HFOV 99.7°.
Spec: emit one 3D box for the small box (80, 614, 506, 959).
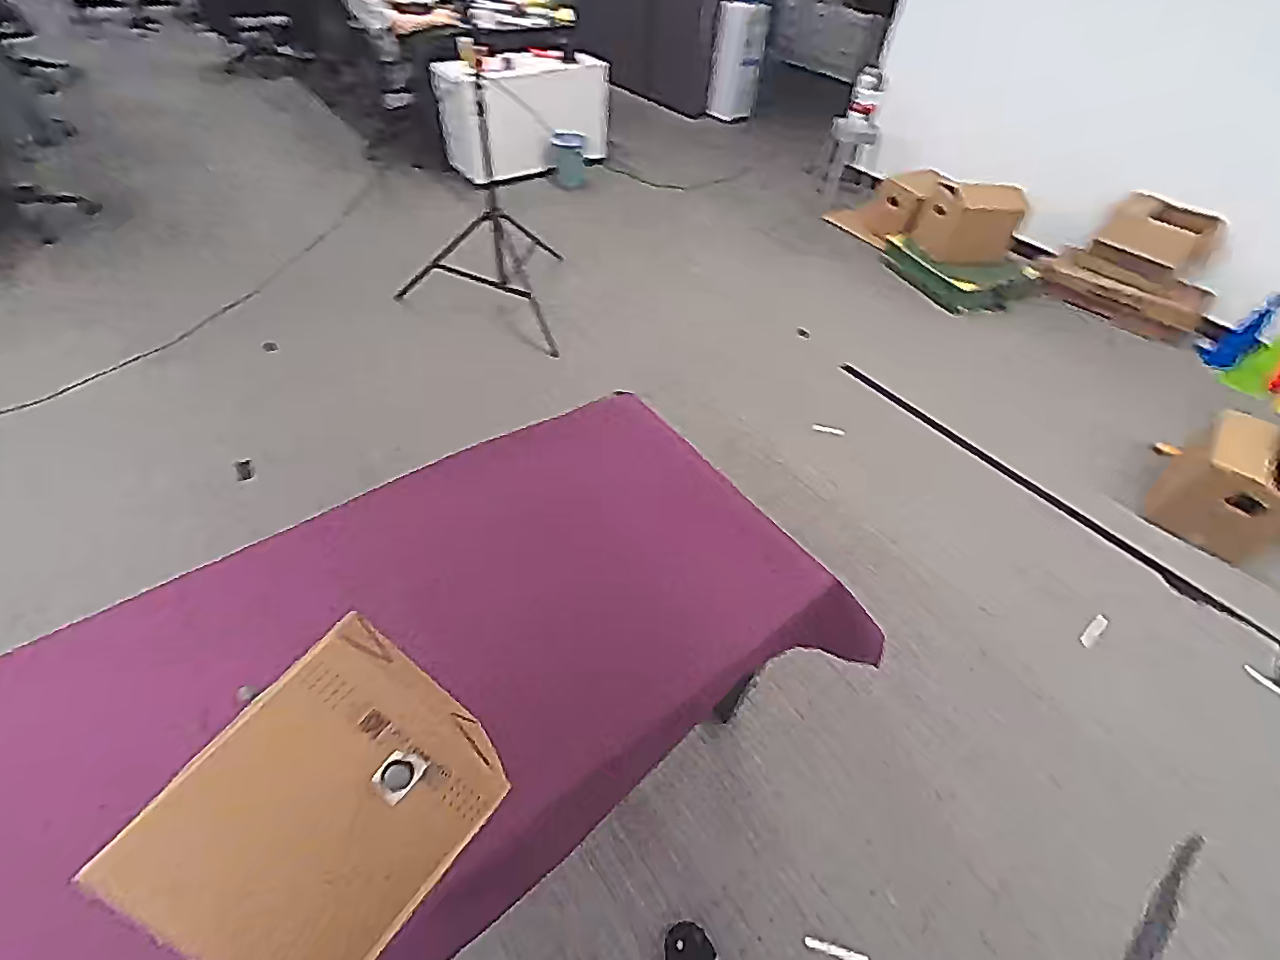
[{"bbox_3d":[-0.223,0.220,0.405,0.168,0.179,0.176,46,68,-11],"label":"small box"}]
